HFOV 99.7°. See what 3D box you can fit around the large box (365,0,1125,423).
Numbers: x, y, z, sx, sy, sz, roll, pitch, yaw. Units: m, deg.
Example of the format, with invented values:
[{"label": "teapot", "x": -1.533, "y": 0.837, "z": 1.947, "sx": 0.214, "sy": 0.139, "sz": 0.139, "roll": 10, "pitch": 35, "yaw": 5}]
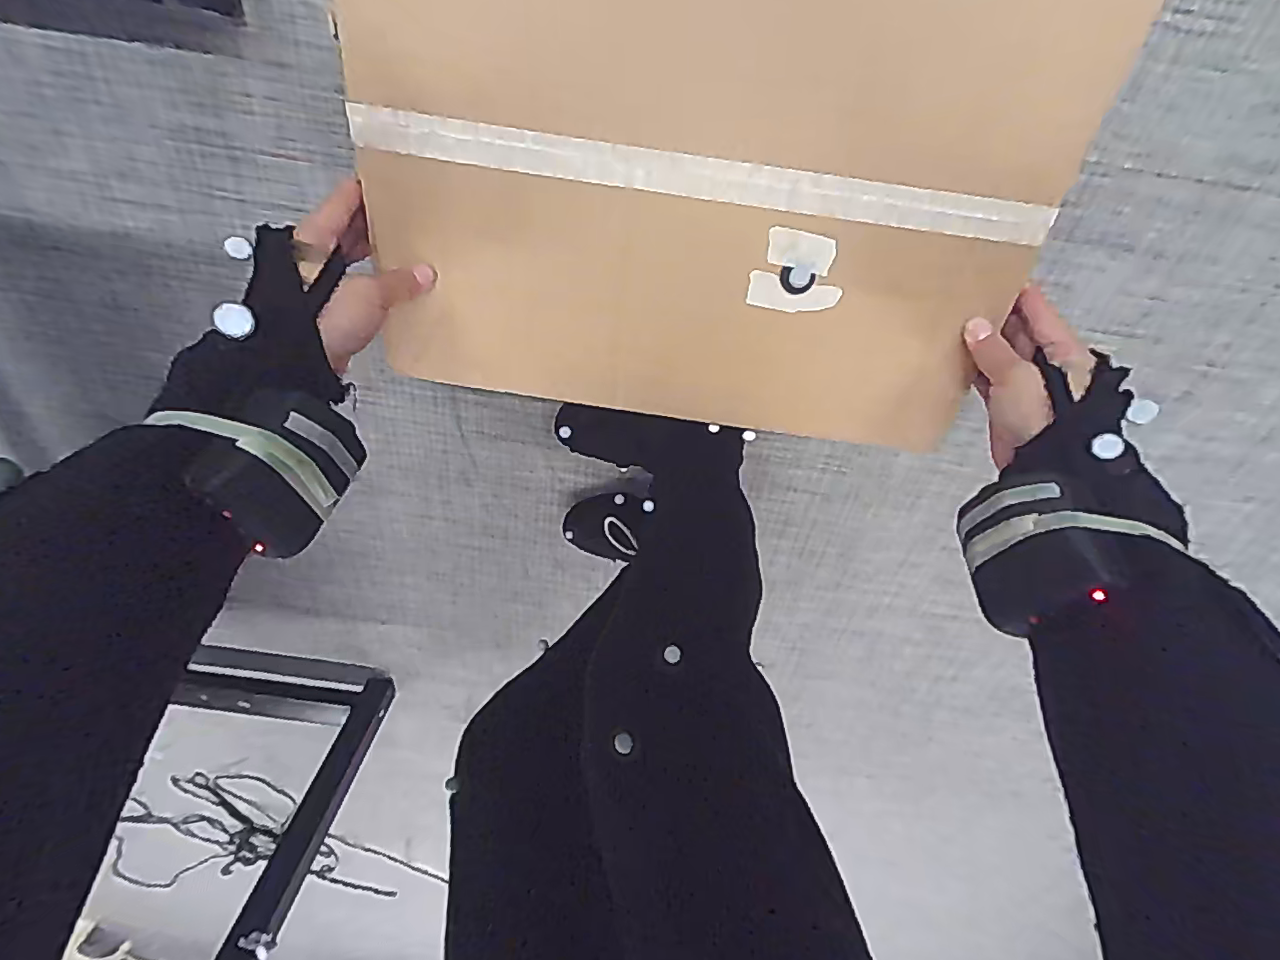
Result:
[{"label": "large box", "x": 0.047, "y": -0.271, "z": 0.450, "sx": 0.408, "sy": 0.320, "sz": 0.320, "roll": 7, "pitch": 125, "yaw": -1}]
